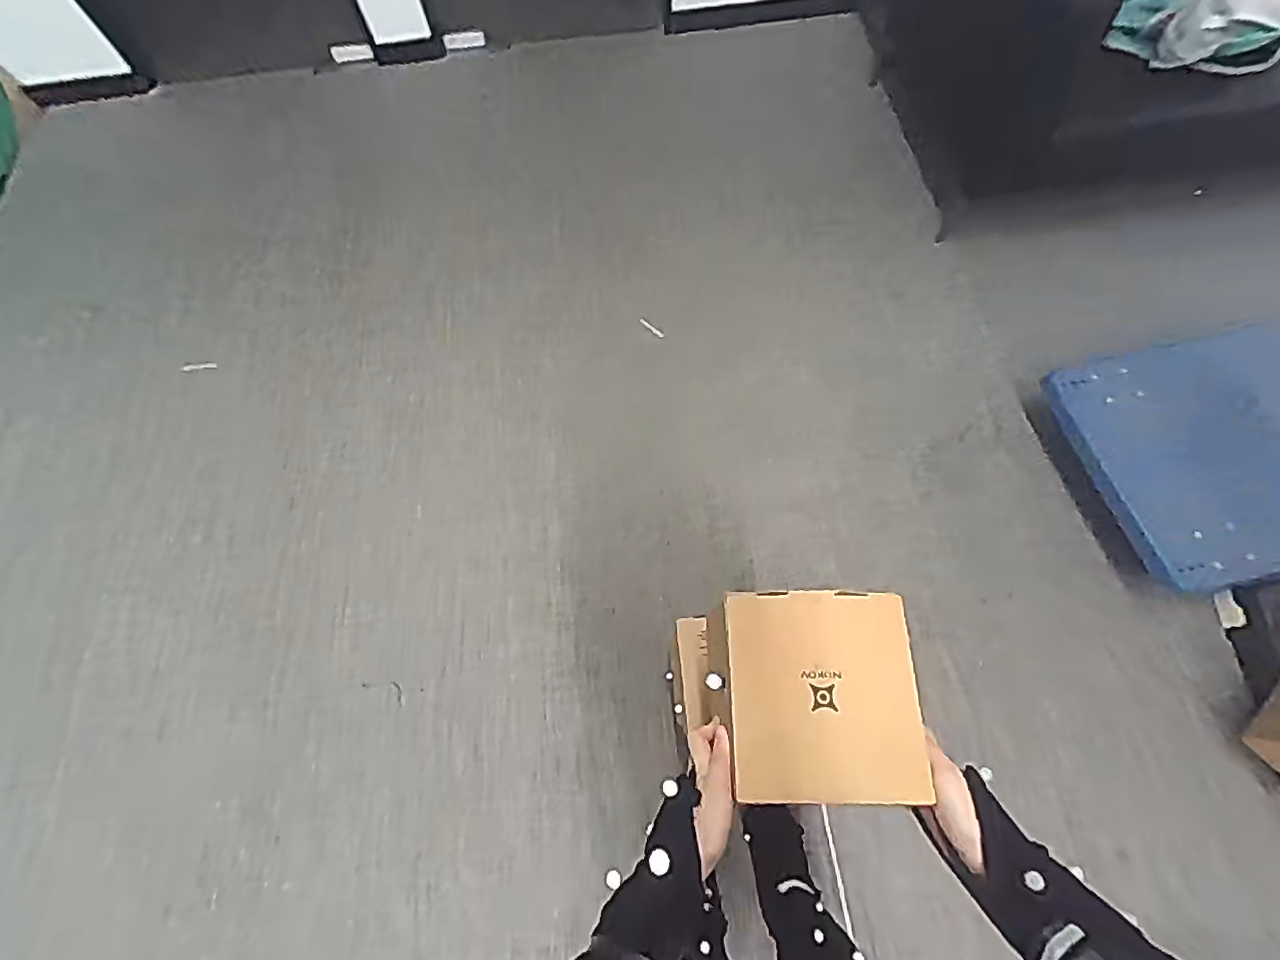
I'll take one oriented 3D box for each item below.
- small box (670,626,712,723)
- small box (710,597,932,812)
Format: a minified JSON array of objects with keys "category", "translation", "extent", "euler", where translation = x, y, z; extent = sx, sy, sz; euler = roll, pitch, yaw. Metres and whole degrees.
[{"category":"small box","translation":[0.153,0.377,1.052],"extent":[0.179,0.176,0.168],"euler":[-5,68,0]},{"category":"small box","translation":[0.162,0.220,0.549],"extent":[0.168,0.176,0.179],"euler":[-1,68,1]}]
